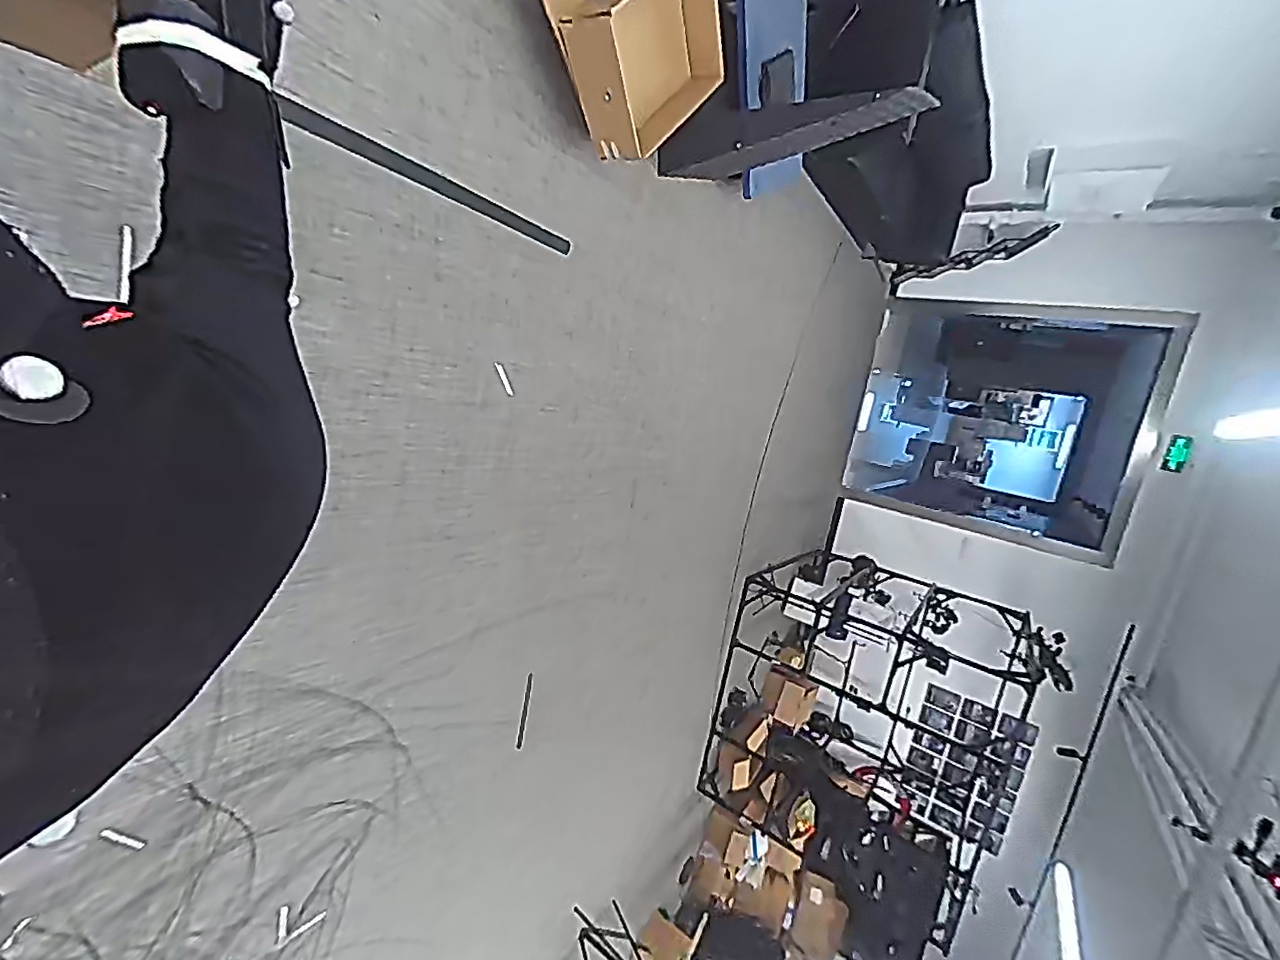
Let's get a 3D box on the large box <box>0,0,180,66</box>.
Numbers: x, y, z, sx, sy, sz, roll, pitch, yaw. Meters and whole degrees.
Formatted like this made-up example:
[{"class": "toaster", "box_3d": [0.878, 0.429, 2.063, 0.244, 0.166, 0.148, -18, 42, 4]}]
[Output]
[{"class": "large box", "box_3d": [-0.532, -0.499, 0.271, 0.408, 0.320, 0.320, -6, 113, -55]}]
